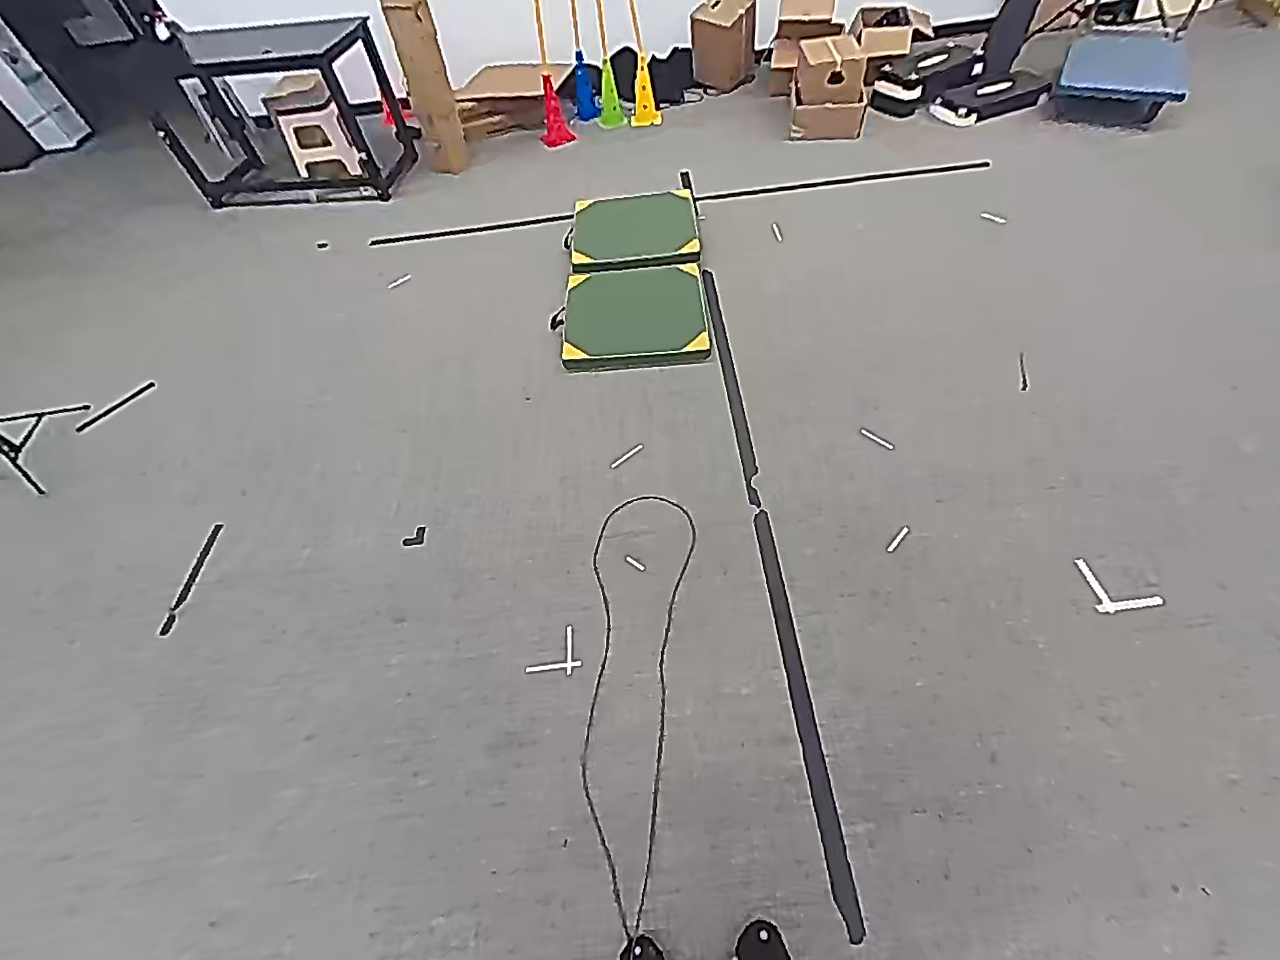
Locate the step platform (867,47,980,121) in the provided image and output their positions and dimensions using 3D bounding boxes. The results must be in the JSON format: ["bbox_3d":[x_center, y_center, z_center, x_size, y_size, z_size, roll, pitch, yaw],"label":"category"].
[{"bbox_3d":[1.766,-2.475,3.365,0.684,0.204,0.286,-30,56,-15],"label":"step platform"}]
